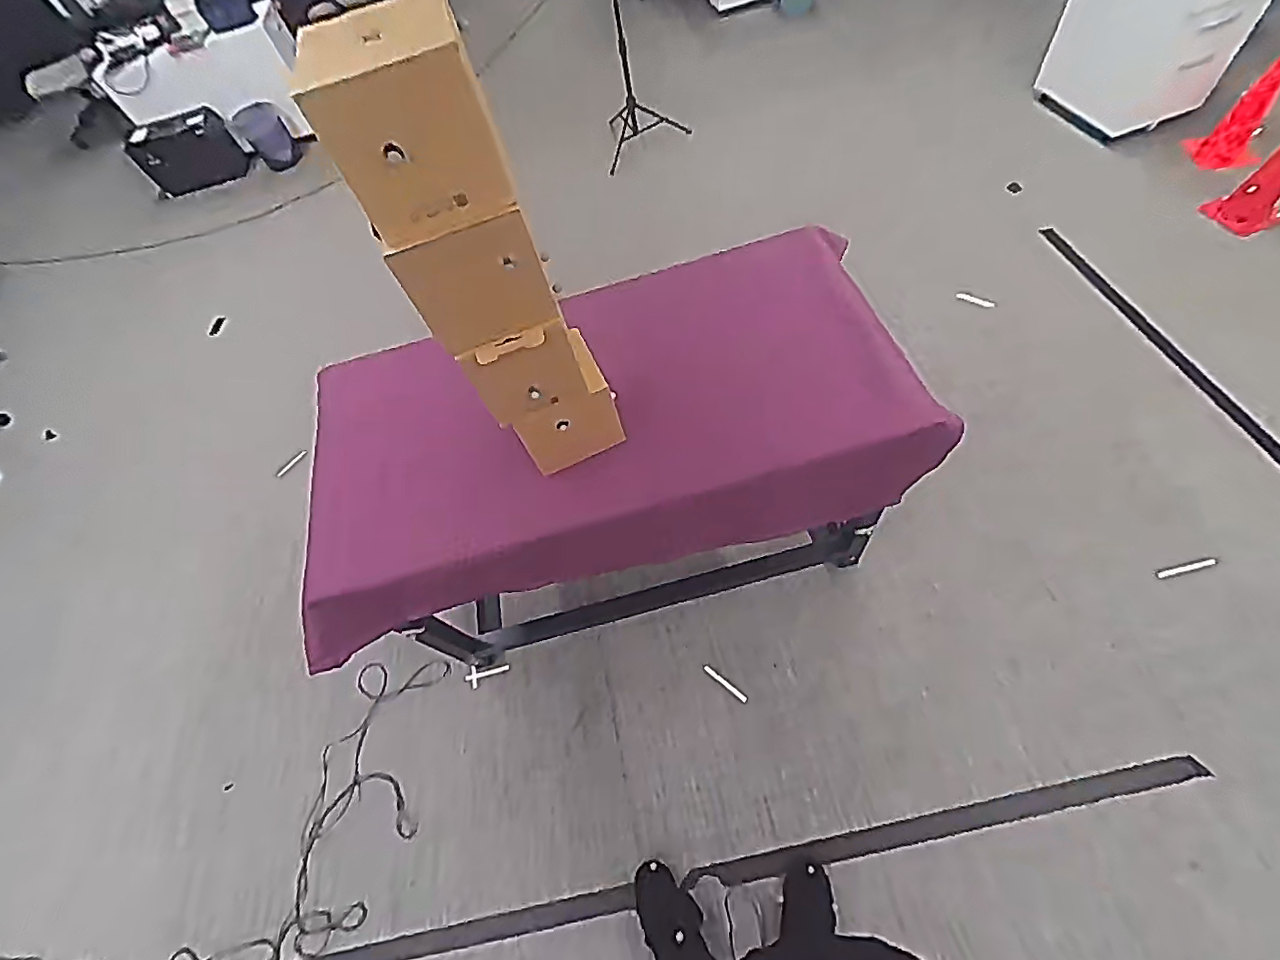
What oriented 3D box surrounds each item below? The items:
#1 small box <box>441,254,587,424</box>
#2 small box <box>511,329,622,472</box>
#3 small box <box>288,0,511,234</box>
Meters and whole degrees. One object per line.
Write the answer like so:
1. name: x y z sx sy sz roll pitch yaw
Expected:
1. small box: -0.201 -0.224 0.880 0.168 0.176 0.179 -21 59 -1
2. small box: -0.151 -0.143 1.016 0.179 0.176 0.168 -25 59 -5
3. small box: -0.261 -0.408 0.616 0.168 0.176 0.179 -20 57 -1
